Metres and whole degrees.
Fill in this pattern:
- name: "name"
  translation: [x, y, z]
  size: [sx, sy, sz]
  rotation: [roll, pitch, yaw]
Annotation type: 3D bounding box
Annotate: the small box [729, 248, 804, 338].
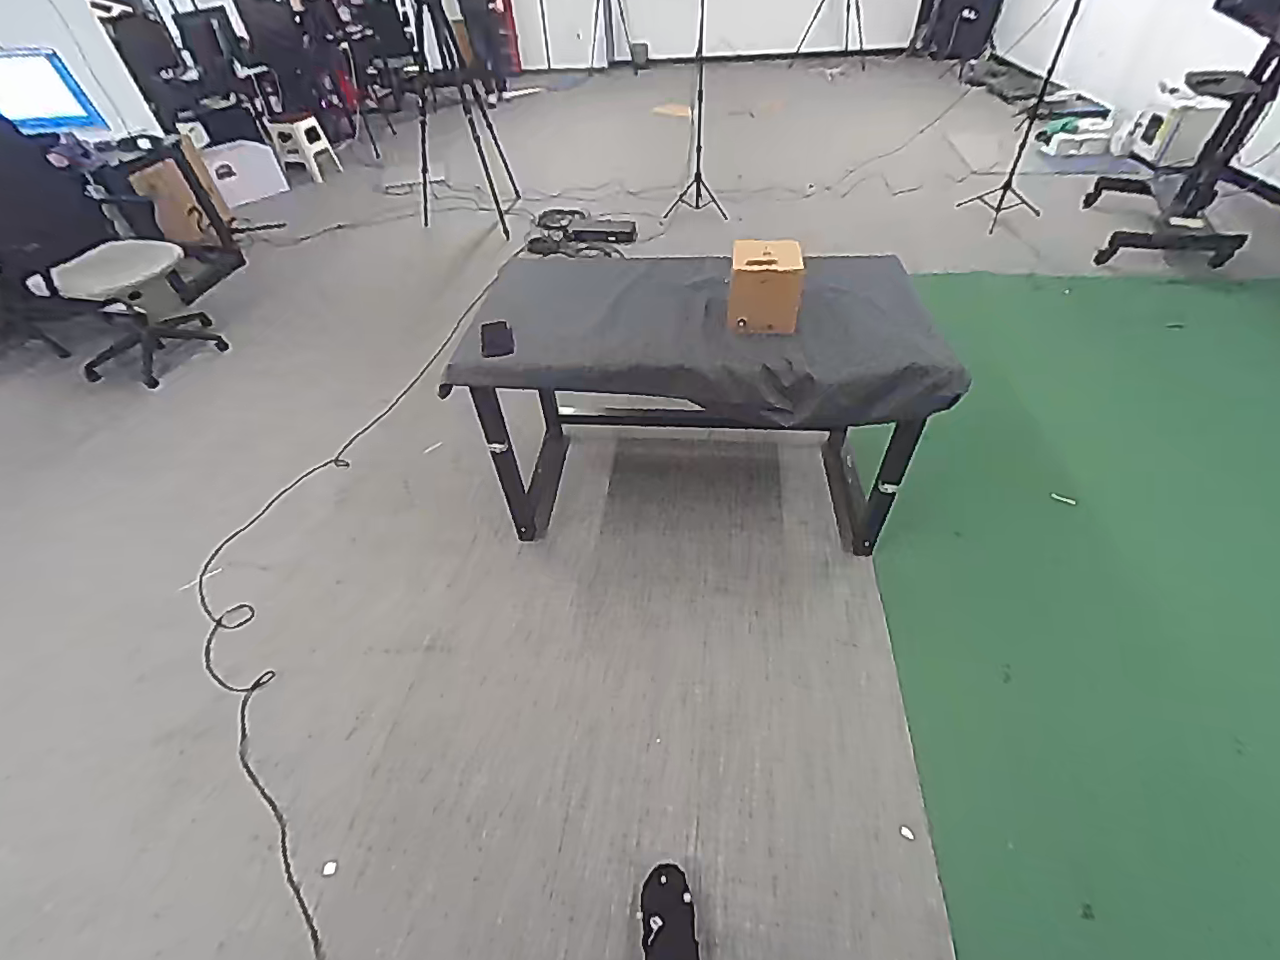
- name: "small box"
  translation: [0.318, -0.476, 1.380]
  size: [0.168, 0.176, 0.179]
  rotation: [3, 44, 7]
